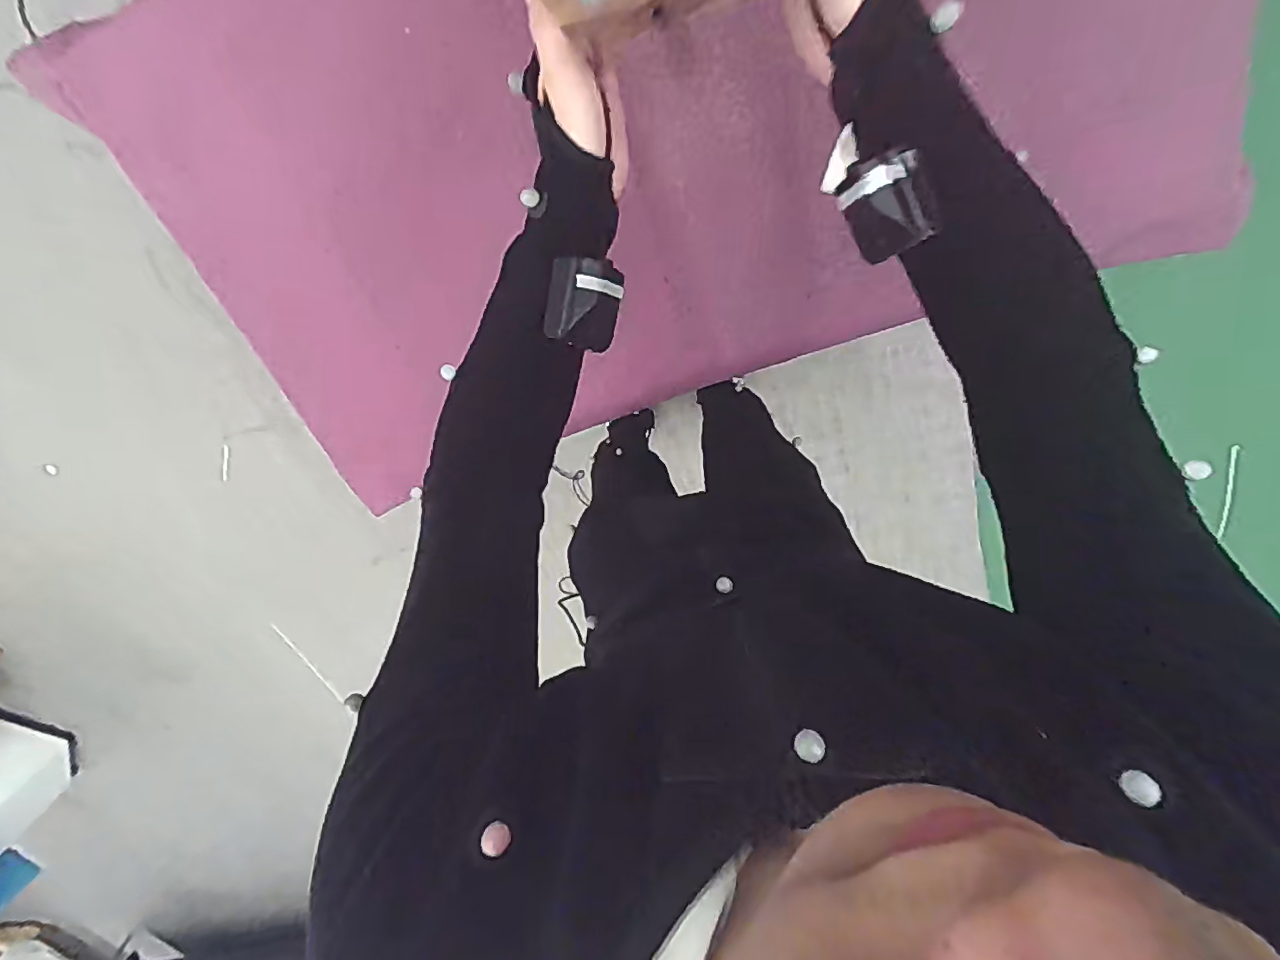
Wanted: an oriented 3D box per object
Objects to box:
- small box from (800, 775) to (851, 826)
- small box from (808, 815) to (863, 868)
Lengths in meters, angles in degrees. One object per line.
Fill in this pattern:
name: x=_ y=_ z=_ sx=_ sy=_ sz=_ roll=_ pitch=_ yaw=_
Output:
small box: x=0.757 y=1.333 z=2.197 sx=0.168 sy=0.176 sz=0.179 roll=-12 pitch=118 yaw=11
small box: x=0.745 y=1.410 z=2.053 sx=0.168 sy=0.176 sz=0.179 roll=-12 pitch=117 yaw=11
